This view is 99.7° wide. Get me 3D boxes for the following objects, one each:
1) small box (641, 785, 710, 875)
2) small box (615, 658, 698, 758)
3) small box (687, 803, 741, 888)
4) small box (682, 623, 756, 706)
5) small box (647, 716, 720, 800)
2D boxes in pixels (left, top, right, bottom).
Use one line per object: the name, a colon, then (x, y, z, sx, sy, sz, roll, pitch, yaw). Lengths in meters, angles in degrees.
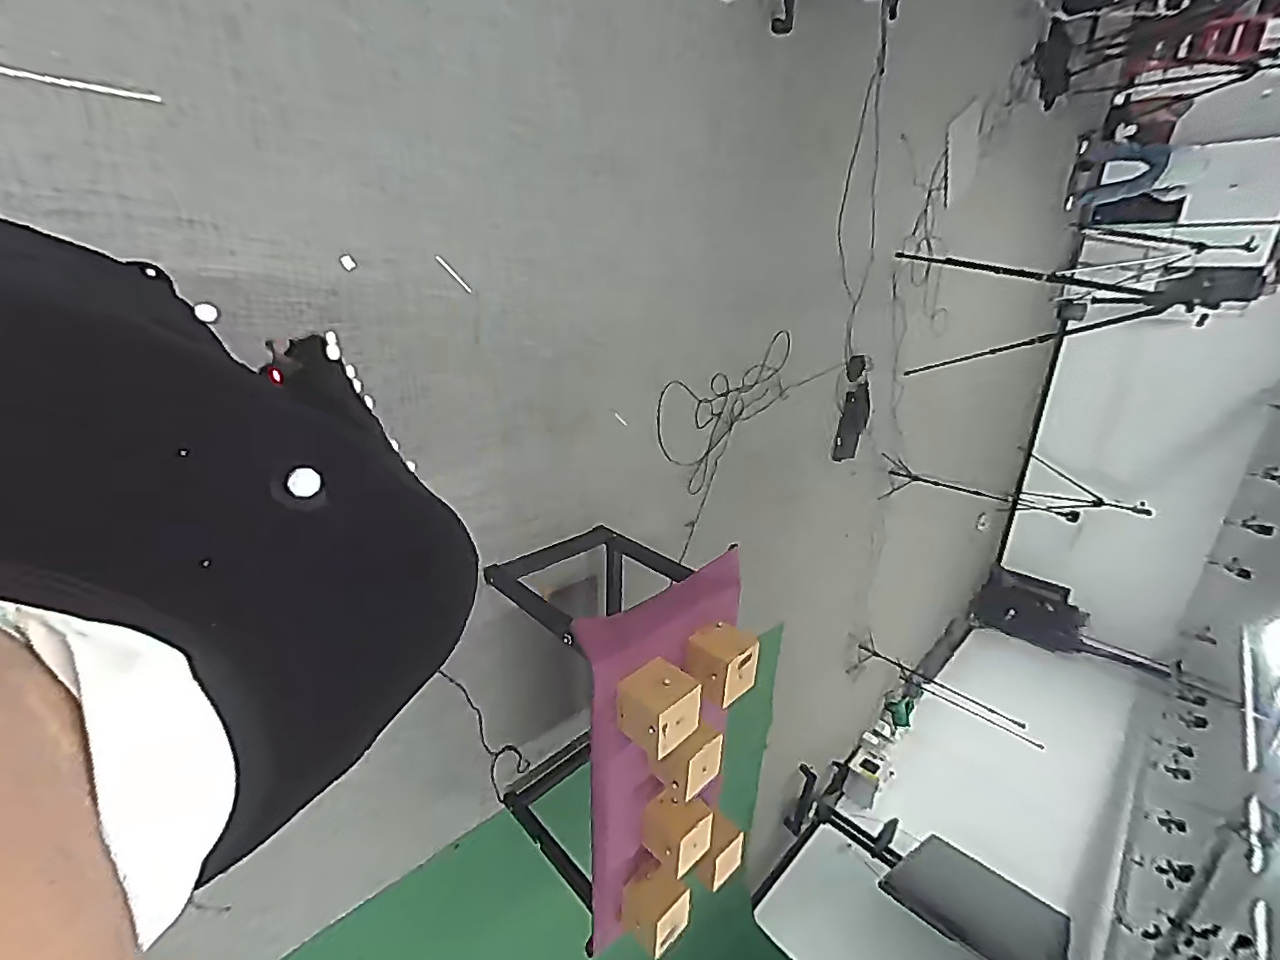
small box: (0.117, 1.185, 1.857, 0.168, 0.176, 0.179, -15, 115, -42)
small box: (0.047, 0.649, 1.565, 0.179, 0.176, 0.168, -20, 119, -42)
small box: (0.265, 1.407, 2.093, 0.168, 0.176, 0.179, -14, 114, -41)
small box: (0.254, 0.588, 1.760, 0.168, 0.176, 0.179, -16, 117, -41)
small box: (0.136, 0.874, 1.749, 0.168, 0.176, 0.179, -16, 116, -42)
